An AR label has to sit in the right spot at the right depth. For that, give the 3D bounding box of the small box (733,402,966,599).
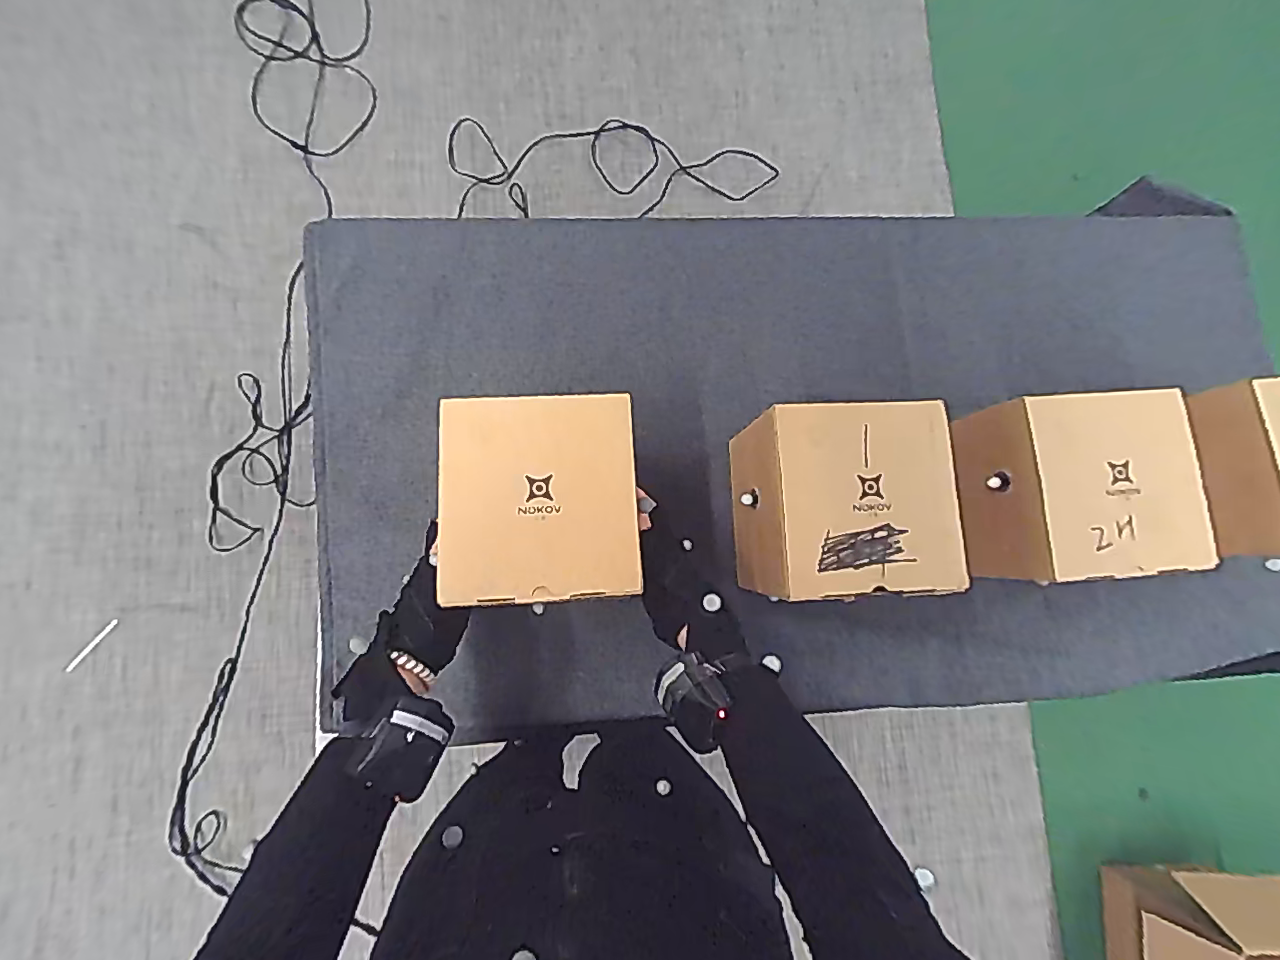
[{"bbox_3d":[0.199,0.025,0.562,0.168,0.176,0.179,-2,82,-5],"label":"small box"}]

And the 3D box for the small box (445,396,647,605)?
[{"bbox_3d":[-0.088,0.028,0.533,0.168,0.176,0.179,-3,80,-6],"label":"small box"}]

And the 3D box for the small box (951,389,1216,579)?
[{"bbox_3d":[0.440,0.012,0.584,0.168,0.176,0.179,-4,83,-5],"label":"small box"}]
